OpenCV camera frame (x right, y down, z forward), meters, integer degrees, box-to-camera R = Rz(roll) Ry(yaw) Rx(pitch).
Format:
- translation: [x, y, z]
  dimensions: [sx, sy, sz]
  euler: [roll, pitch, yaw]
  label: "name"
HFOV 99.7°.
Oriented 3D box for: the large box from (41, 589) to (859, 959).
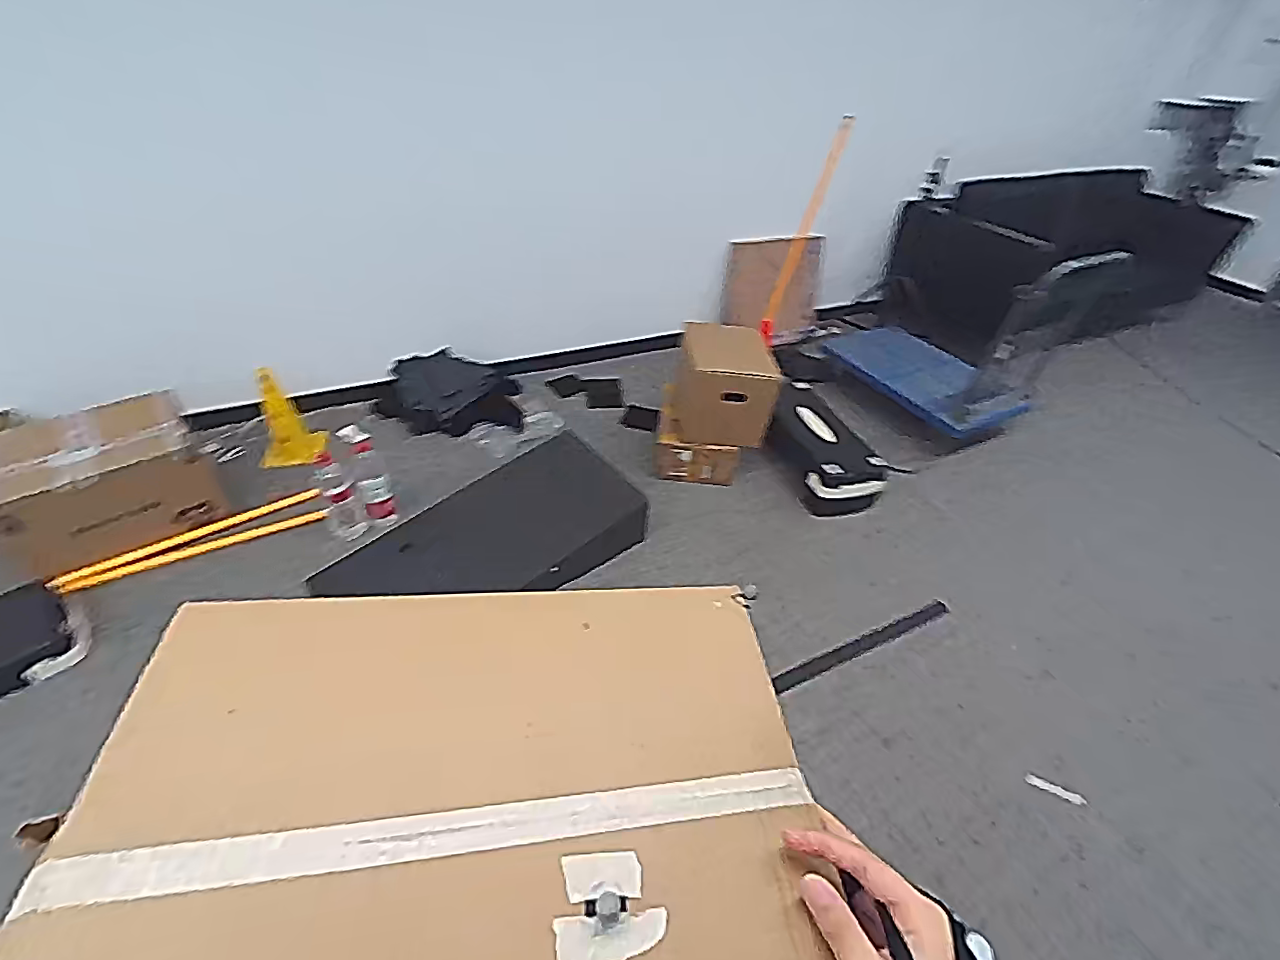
- translation: [-0.112, 0.302, 0.417]
  dimensions: [0.408, 0.320, 0.320]
  euler: [2, 45, -14]
  label: "large box"
